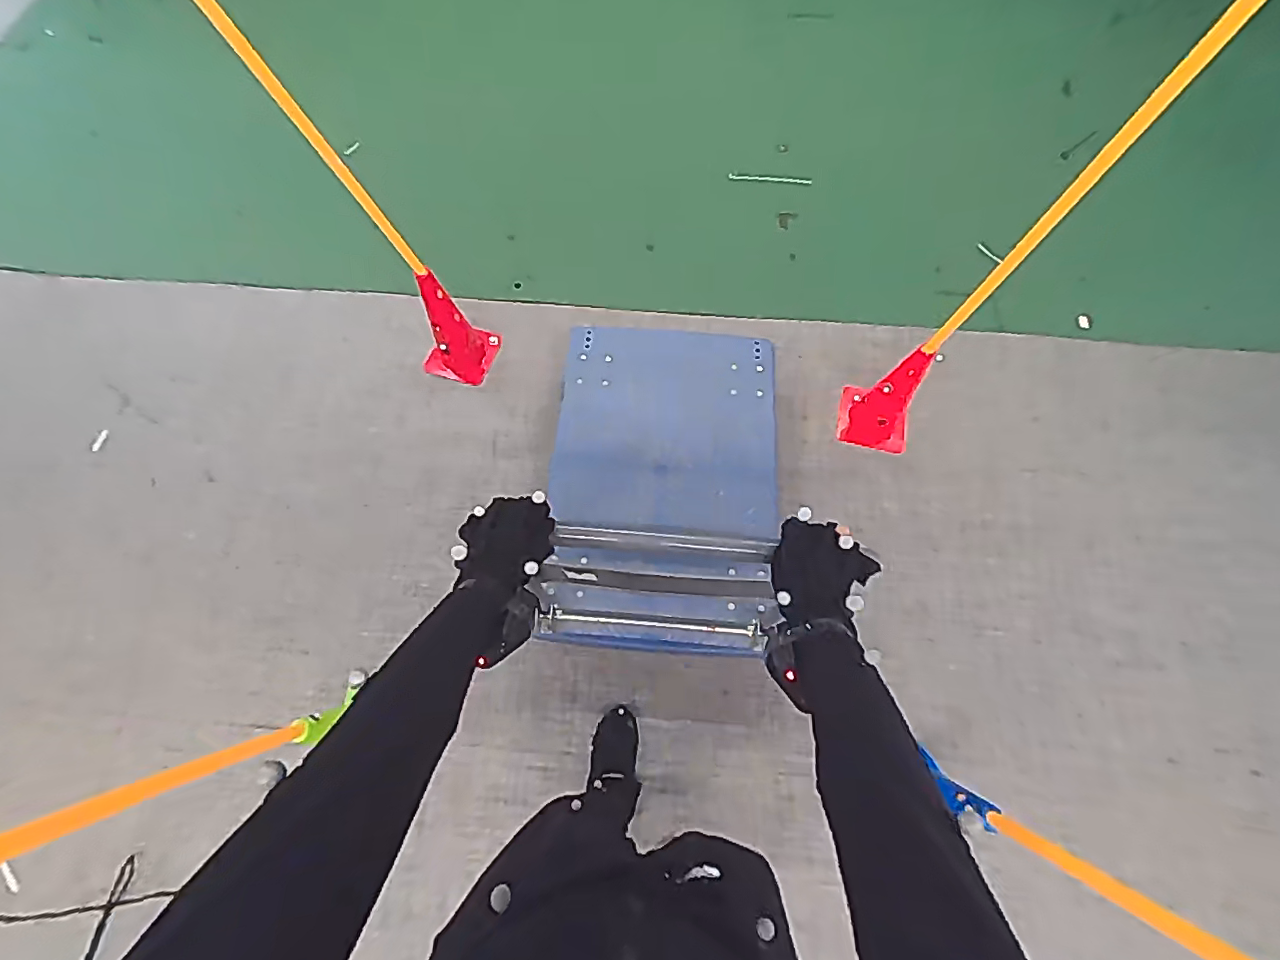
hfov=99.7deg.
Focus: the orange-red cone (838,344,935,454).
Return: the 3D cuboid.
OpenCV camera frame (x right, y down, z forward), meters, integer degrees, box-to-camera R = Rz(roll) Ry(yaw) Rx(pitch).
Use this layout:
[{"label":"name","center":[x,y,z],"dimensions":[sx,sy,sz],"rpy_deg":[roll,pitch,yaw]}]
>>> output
[{"label":"orange-red cone","center":[0.700,-0.246,1.467],"dimensions":[0.198,0.360,0.199],"rpy_deg":[14,69,7]}]
